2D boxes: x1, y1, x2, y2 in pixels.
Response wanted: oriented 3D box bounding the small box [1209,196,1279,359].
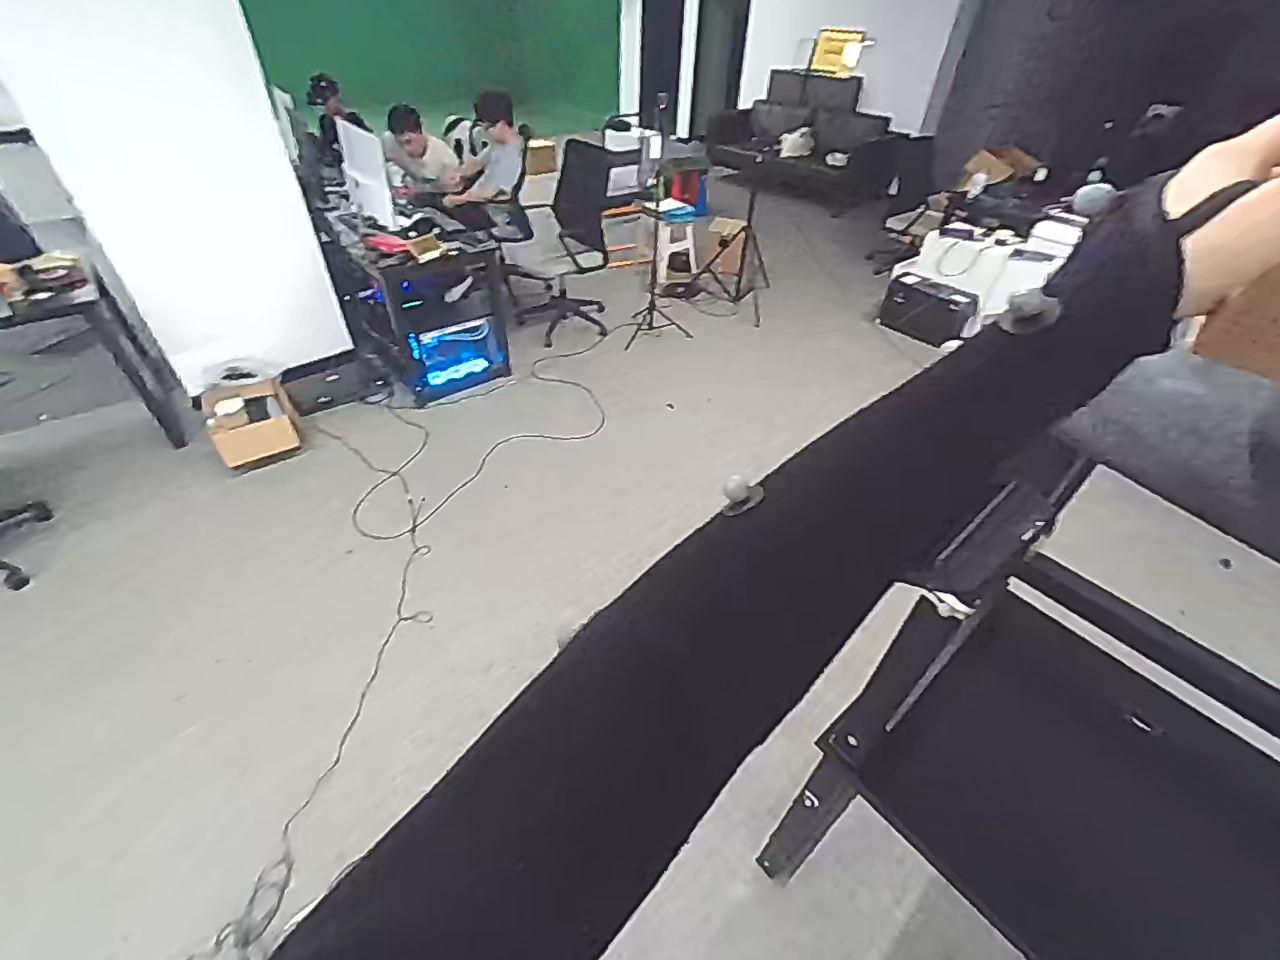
[{"bbox_3d":[0.423,-0.133,0.242,0.168,0.176,0.179,34,59,27],"label":"small box"}]
